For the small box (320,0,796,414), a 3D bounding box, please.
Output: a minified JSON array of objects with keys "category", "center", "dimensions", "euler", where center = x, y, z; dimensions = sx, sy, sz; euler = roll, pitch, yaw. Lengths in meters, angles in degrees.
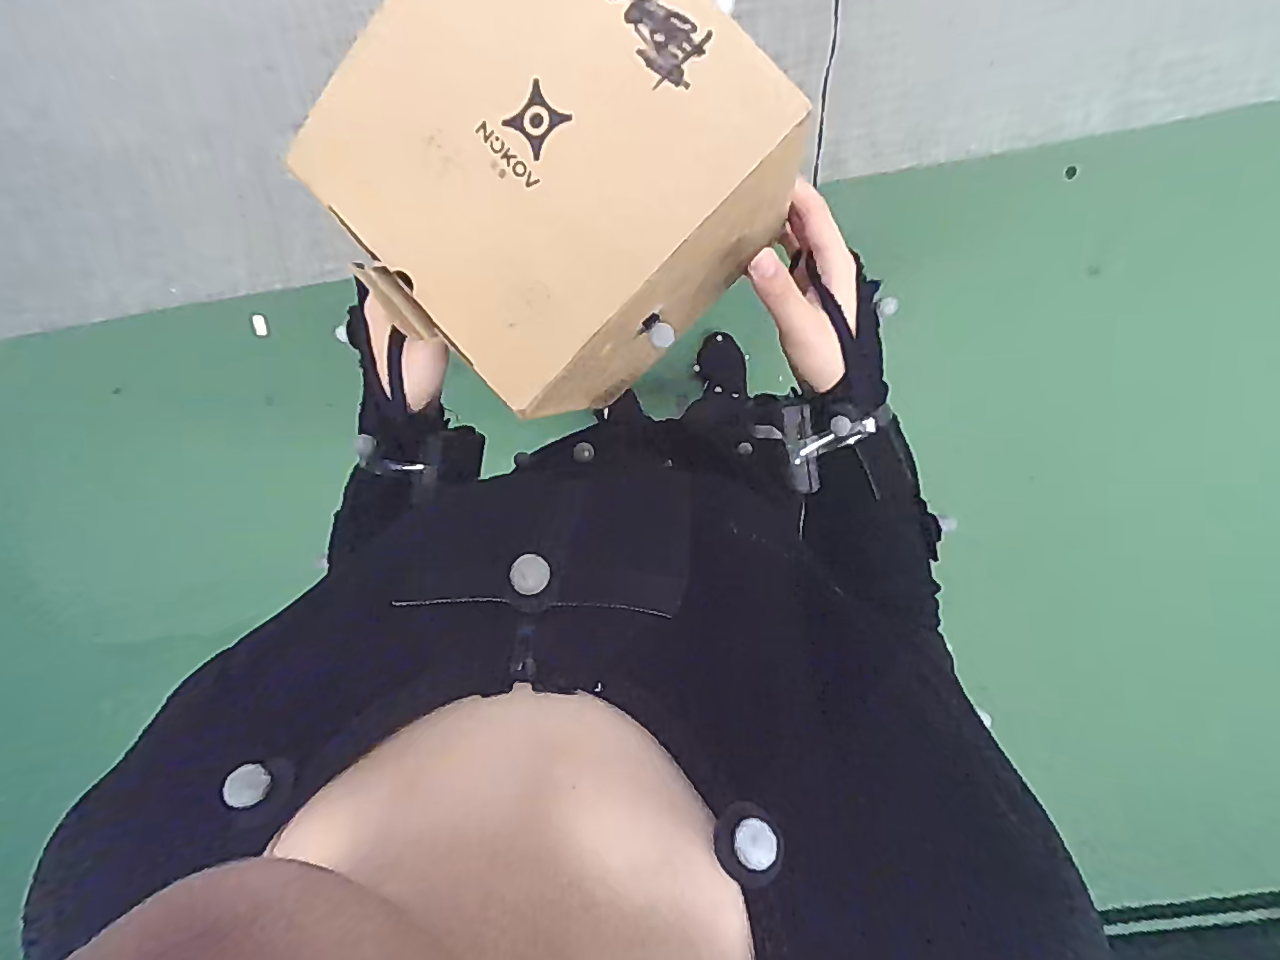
[{"category":"small box","center":[-0.030,-0.157,0.323],"dimensions":[0.179,0.176,0.168],"euler":[-43,89,14]}]
